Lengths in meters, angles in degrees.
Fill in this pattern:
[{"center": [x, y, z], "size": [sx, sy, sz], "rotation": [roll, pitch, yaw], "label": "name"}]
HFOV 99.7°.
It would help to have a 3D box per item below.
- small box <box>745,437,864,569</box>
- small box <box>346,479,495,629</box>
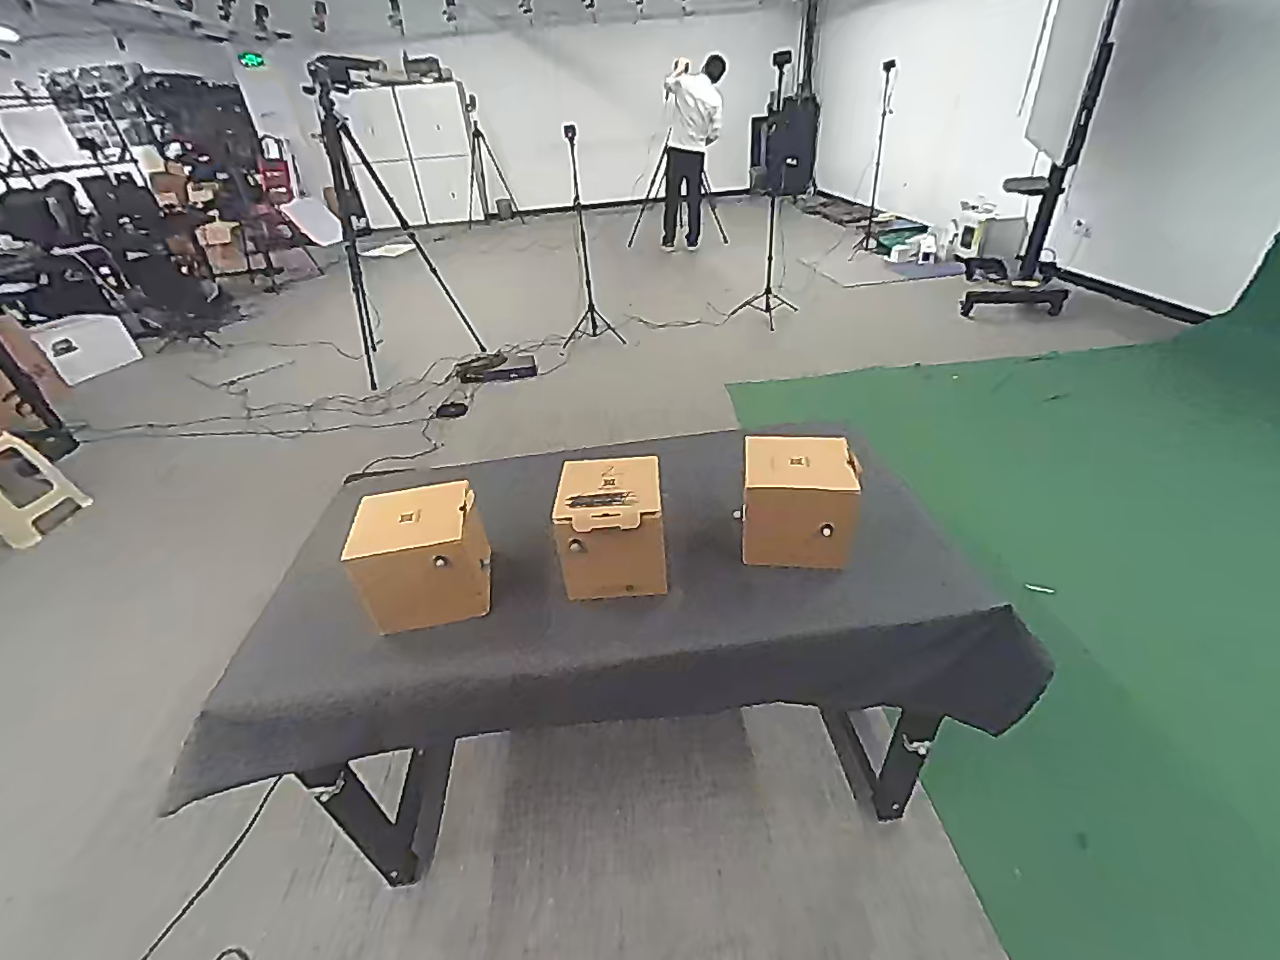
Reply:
[{"center": [0.276, 0.039, 0.946], "size": [0.179, 0.176, 0.168], "rotation": [1, 34, 10], "label": "small box"}, {"center": [-0.350, 0.124, 0.898], "size": [0.179, 0.176, 0.168], "rotation": [-10, 34, -8], "label": "small box"}]
